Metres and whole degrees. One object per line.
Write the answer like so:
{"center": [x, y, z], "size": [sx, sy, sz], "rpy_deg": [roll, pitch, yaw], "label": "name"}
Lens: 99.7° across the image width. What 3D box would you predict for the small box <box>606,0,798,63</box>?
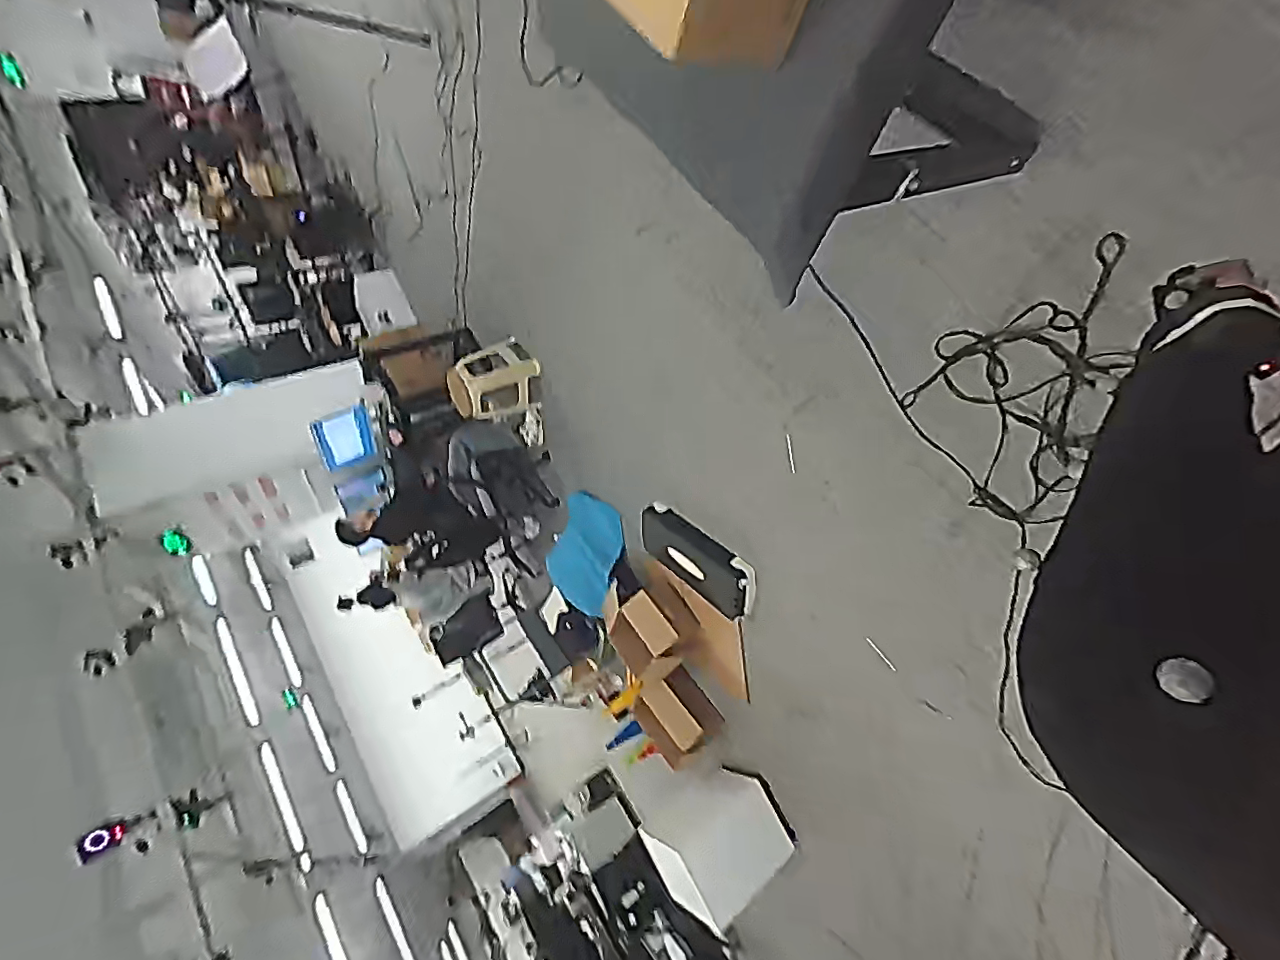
{"center": [0.070, -0.553, 0.538], "size": [0.179, 0.176, 0.168], "rpy_deg": [56, 148, 18], "label": "small box"}
